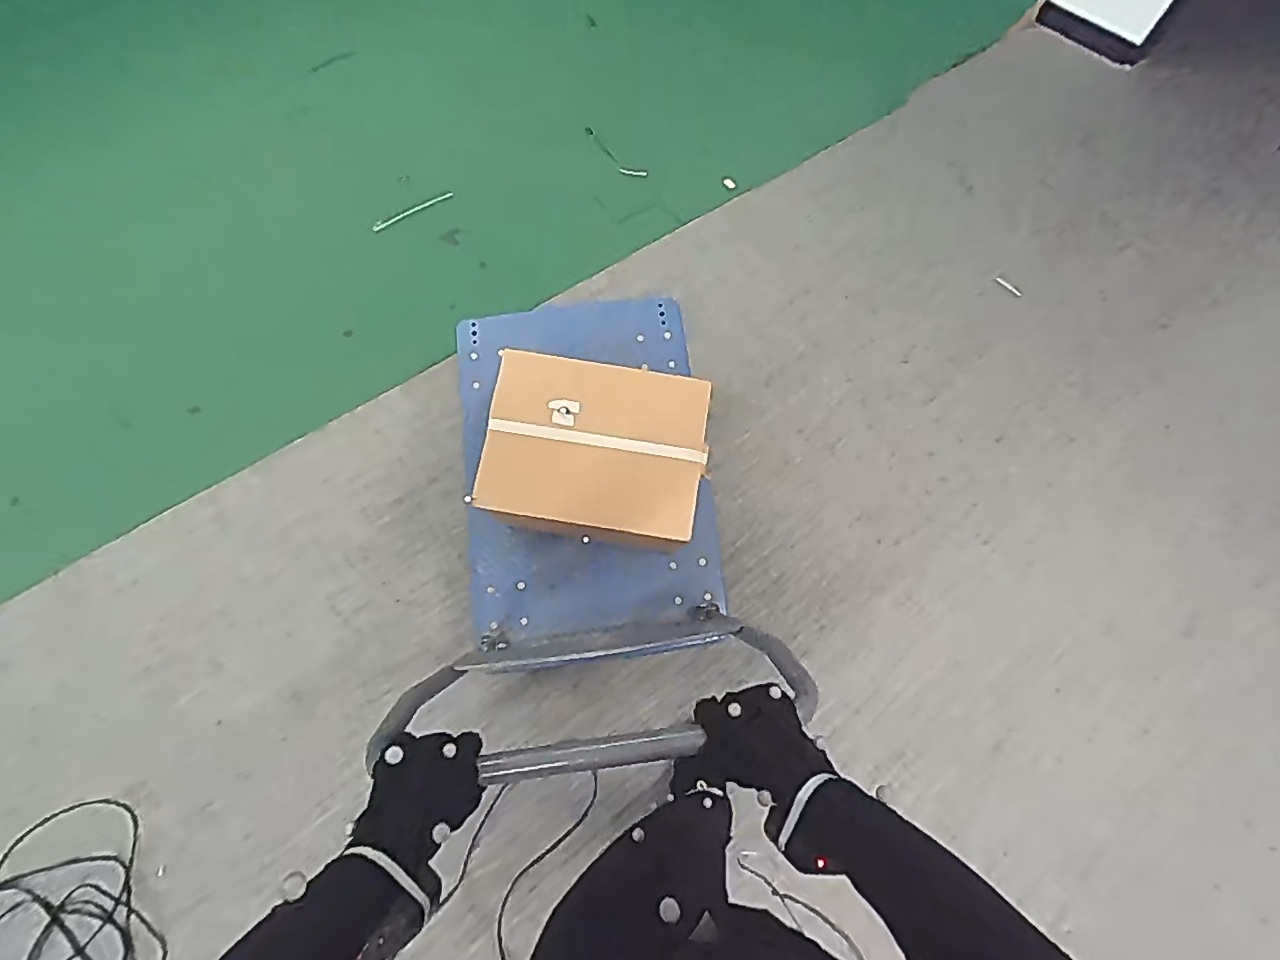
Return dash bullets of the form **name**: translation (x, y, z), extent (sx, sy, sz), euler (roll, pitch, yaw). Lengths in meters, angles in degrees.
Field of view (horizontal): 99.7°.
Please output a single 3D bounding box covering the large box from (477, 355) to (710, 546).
- **large box**: translation (-0.079, -0.041, 1.148), extent (0.408, 0.320, 0.320), euler (8, 79, 1)
